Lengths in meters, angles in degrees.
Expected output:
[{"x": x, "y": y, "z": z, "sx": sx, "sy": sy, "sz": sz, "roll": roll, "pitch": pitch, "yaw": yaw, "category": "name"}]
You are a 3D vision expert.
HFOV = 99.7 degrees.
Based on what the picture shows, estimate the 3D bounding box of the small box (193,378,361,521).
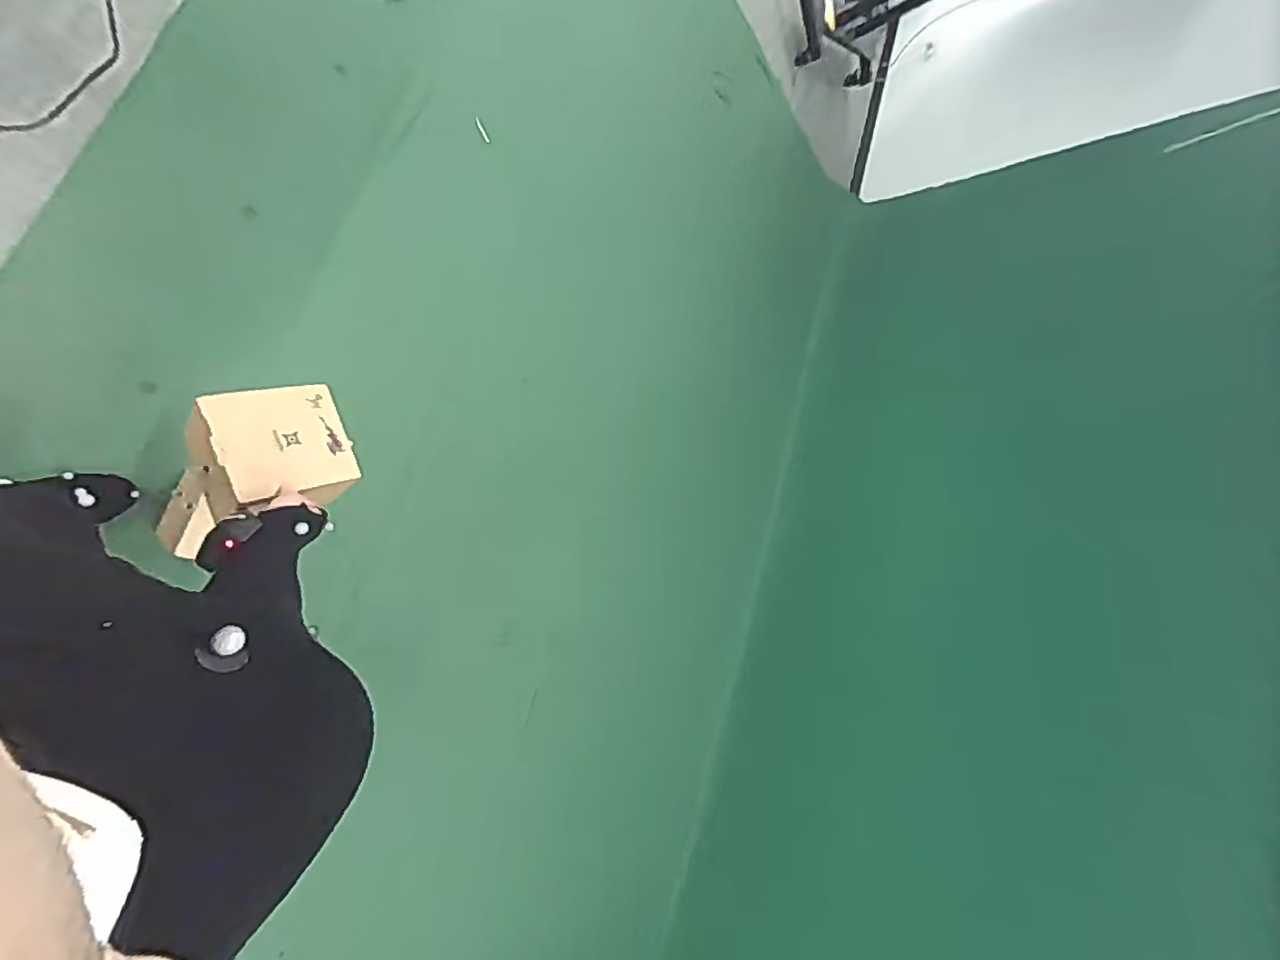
[{"x": -0.585, "y": -0.046, "z": 0.865, "sx": 0.179, "sy": 0.176, "sz": 0.168, "roll": -21, "pitch": 90, "yaw": -46, "category": "small box"}]

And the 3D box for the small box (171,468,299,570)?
[{"x": -0.867, "y": 0.078, "z": 1.160, "sx": 0.168, "sy": 0.176, "sz": 0.179, "roll": 28, "pitch": 73, "yaw": -45, "category": "small box"}]

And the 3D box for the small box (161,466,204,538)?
[{"x": -0.985, "y": 0.073, "z": 1.275, "sx": 0.179, "sy": 0.176, "sz": 0.168, "roll": 29, "pitch": 72, "yaw": -45, "category": "small box"}]
